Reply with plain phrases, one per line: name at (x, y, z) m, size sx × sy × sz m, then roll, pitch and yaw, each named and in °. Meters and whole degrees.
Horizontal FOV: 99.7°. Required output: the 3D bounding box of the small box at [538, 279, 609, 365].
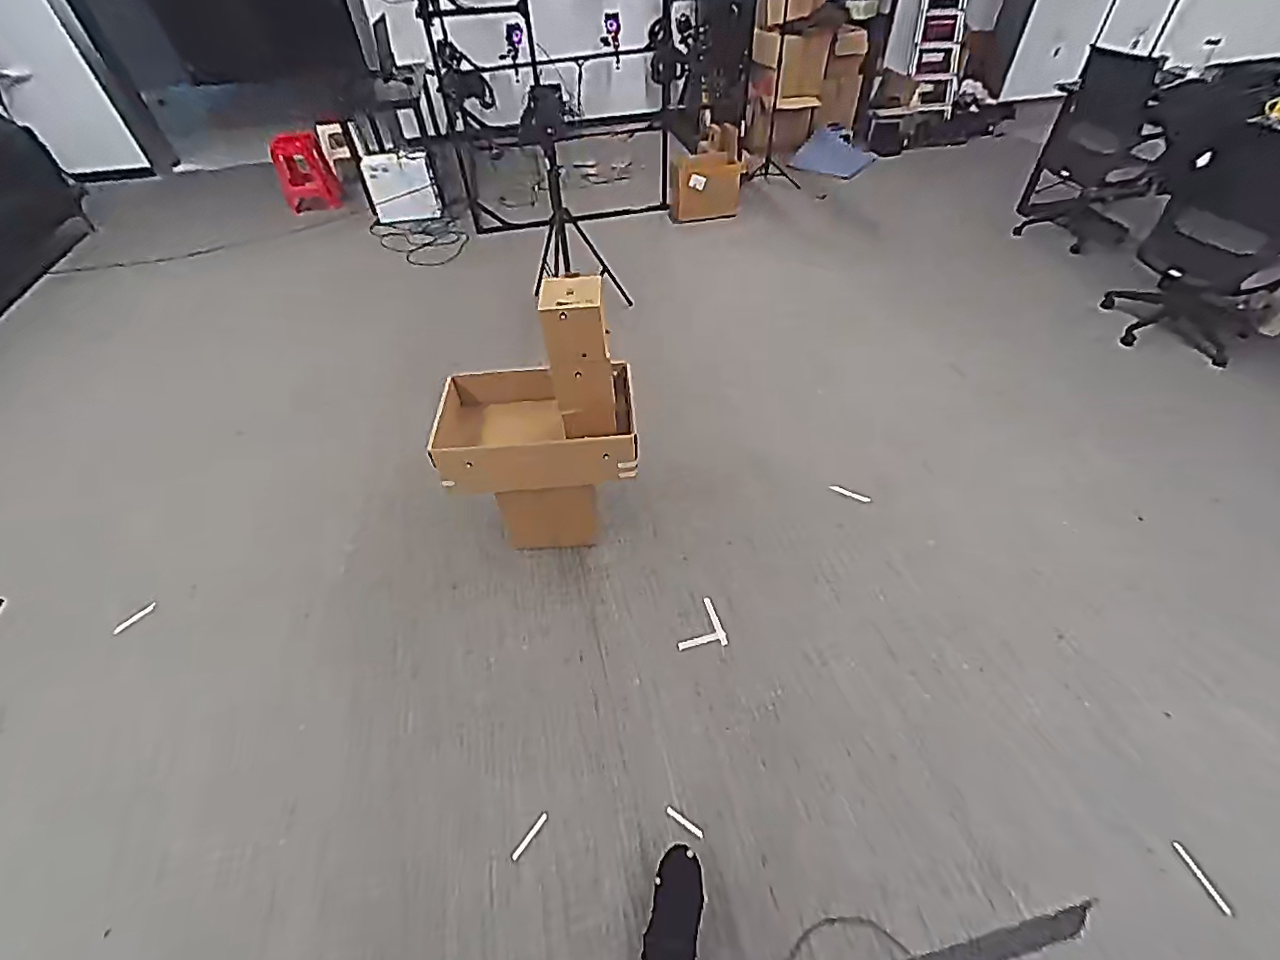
small box at (-0.179, -0.439, 1.504) m, size 0.168 × 0.176 × 0.179 m, roll -4°, pitch 45°, yaw 2°

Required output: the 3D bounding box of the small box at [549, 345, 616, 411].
small box at (-0.171, -0.321, 1.619) m, size 0.179 × 0.176 × 0.168 m, roll -8°, pitch 46°, yaw -3°
